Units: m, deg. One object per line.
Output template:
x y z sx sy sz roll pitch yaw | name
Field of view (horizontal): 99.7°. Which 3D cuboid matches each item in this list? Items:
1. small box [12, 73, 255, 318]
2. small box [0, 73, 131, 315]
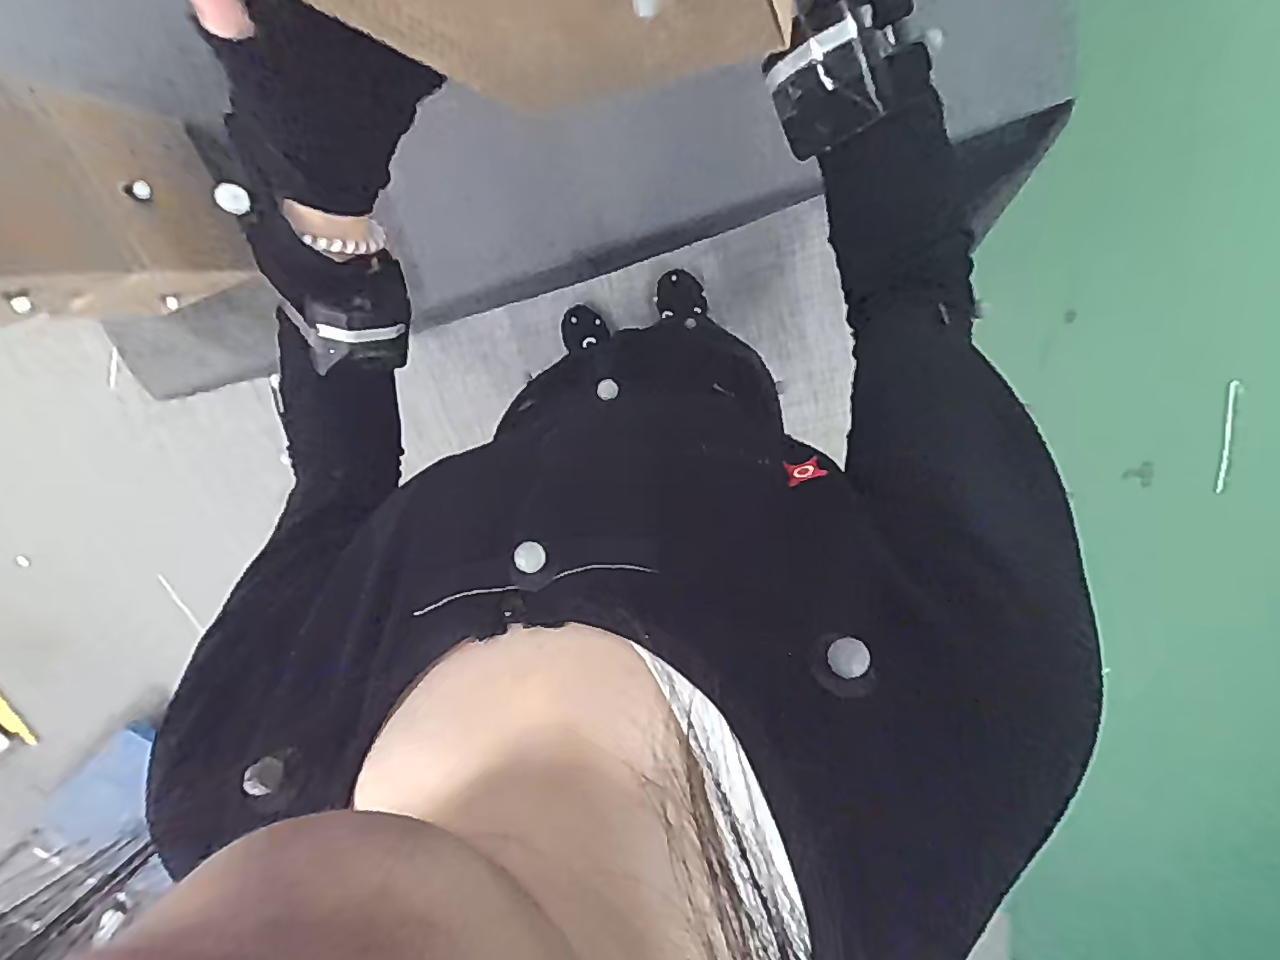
-0.588 -0.294 0.594 0.168 0.176 0.179 -16 111 10 | small box
-0.596 -0.232 0.443 0.168 0.176 0.179 -15 111 8 | small box
